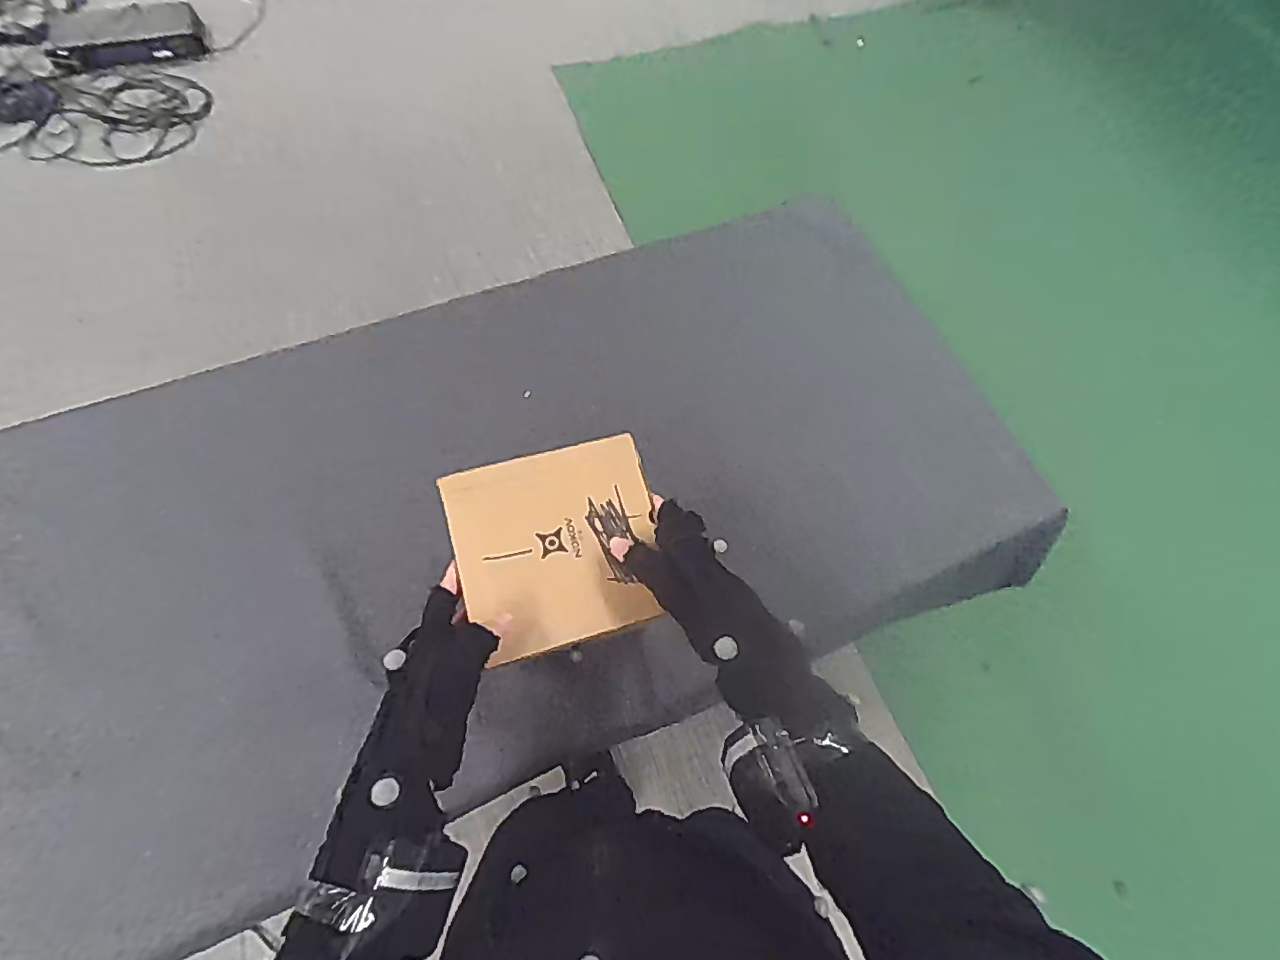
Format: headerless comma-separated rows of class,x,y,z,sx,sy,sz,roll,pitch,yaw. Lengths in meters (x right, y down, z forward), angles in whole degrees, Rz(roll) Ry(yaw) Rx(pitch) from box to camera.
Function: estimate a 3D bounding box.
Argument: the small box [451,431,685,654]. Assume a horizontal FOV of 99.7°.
small box,-0.075,0.069,0.534,0.179,0.176,0.168,-11,73,-12
